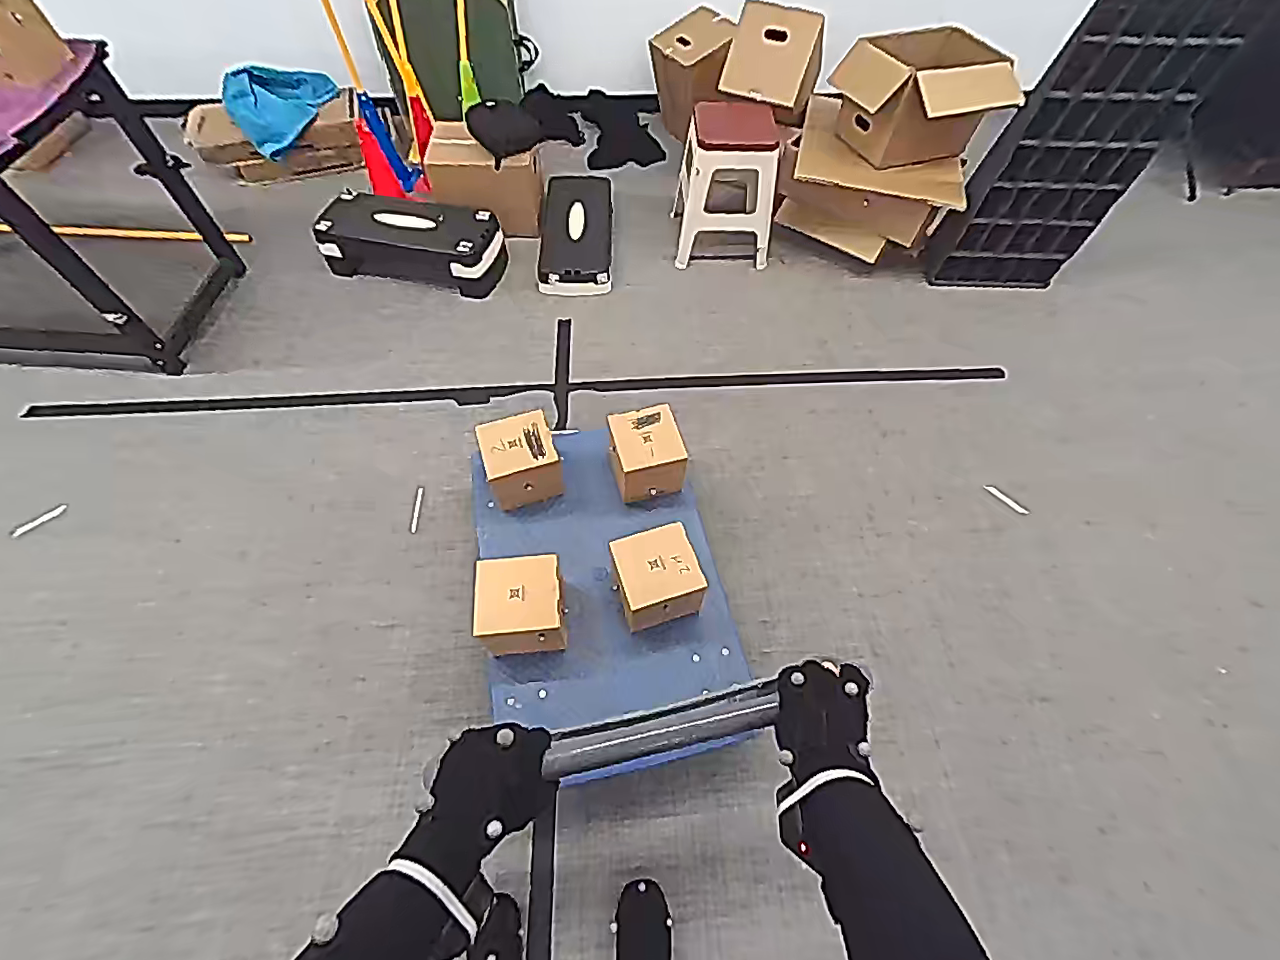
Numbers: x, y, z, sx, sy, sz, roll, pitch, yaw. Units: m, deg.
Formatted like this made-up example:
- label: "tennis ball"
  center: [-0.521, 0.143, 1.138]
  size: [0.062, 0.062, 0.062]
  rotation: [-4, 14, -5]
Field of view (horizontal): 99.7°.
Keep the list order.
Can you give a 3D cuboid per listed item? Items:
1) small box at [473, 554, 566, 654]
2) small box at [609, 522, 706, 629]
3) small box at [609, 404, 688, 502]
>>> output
- label: "small box"
  center: [-0.260, 0.278, 1.197]
  size: [0.179, 0.176, 0.168]
  rotation: [-4, 59, -6]
- label: "small box"
  center: [0.036, 0.223, 1.237]
  size: [0.179, 0.176, 0.168]
  rotation: [-15, 61, -10]
- label: "small box"
  center: [0.016, -0.068, 1.410]
  size: [0.168, 0.176, 0.179]
  rotation: [-13, 61, -9]
